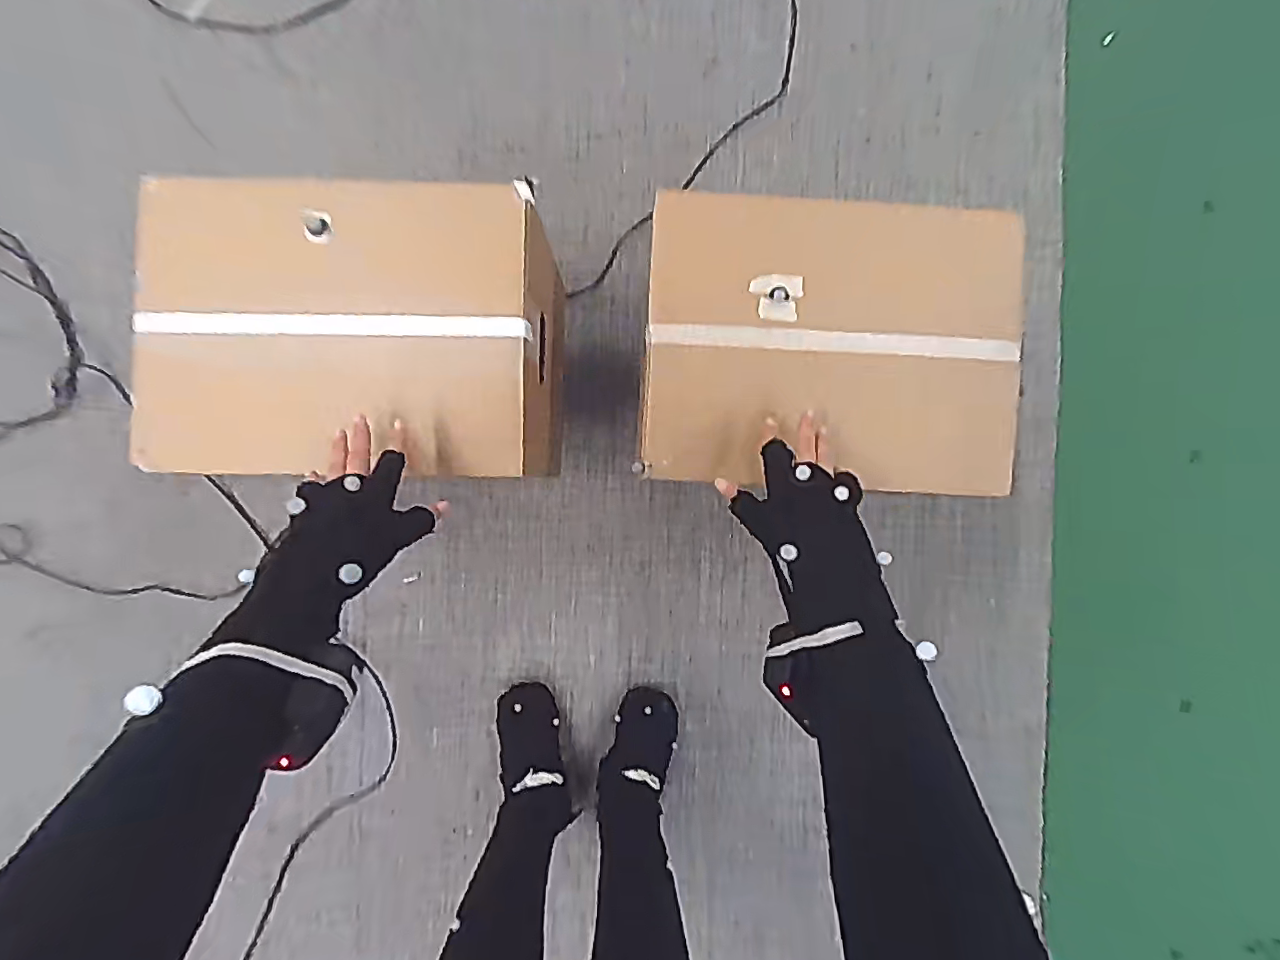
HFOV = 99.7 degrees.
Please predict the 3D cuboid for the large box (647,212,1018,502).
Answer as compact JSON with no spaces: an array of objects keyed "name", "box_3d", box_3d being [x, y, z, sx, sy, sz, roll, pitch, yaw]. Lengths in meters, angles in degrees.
[{"name":"large box","box_3d":[0.219,-0.141,0.755,0.408,0.320,0.320,3,90,0]}]
